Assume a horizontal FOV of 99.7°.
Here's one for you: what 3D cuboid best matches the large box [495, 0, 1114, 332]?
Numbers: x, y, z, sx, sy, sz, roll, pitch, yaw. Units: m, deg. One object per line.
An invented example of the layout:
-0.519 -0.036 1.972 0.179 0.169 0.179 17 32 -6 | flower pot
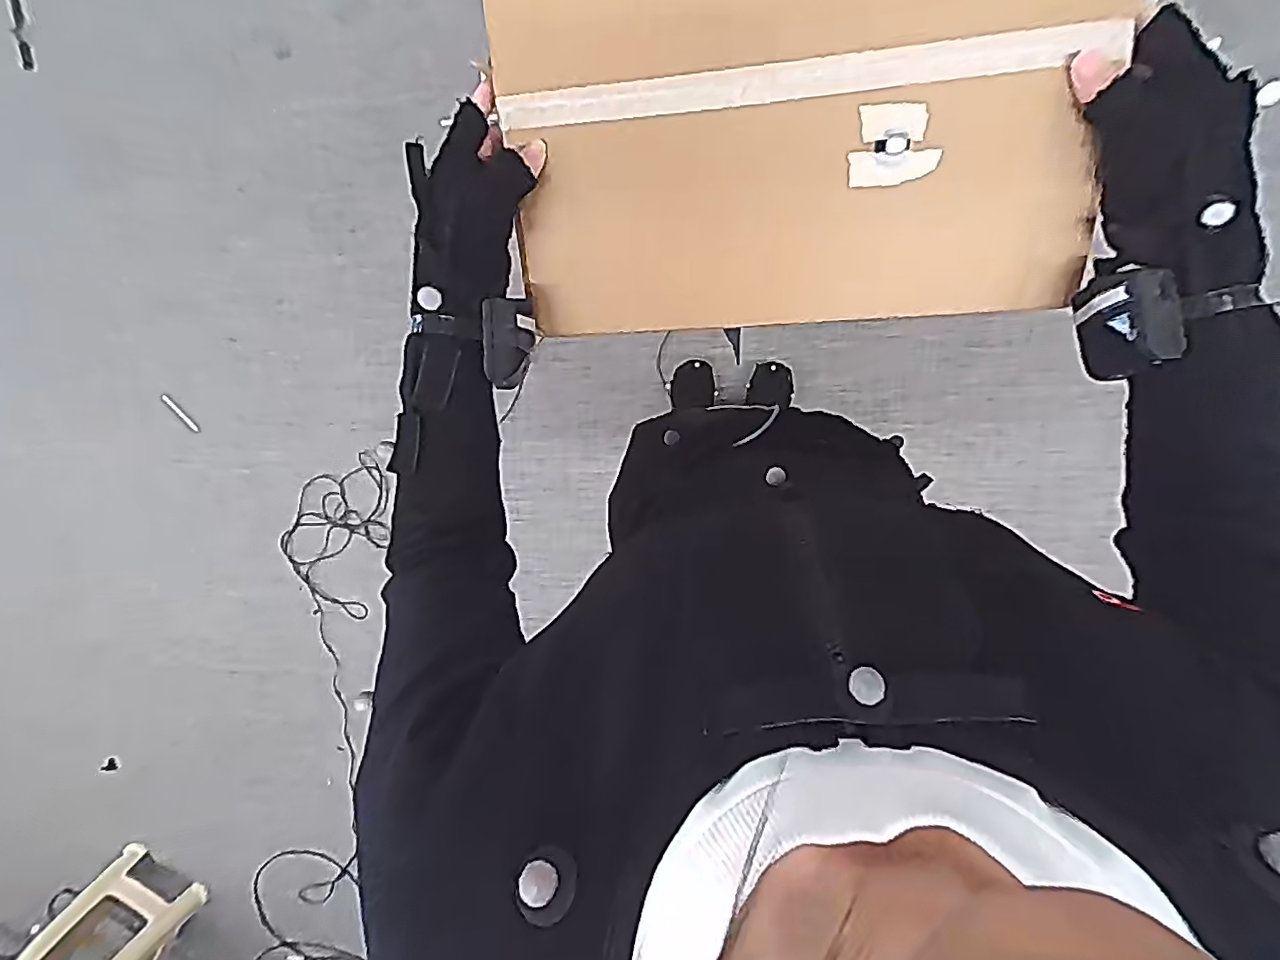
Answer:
0.116 -0.327 0.510 0.408 0.320 0.320 -2 112 7 | large box
